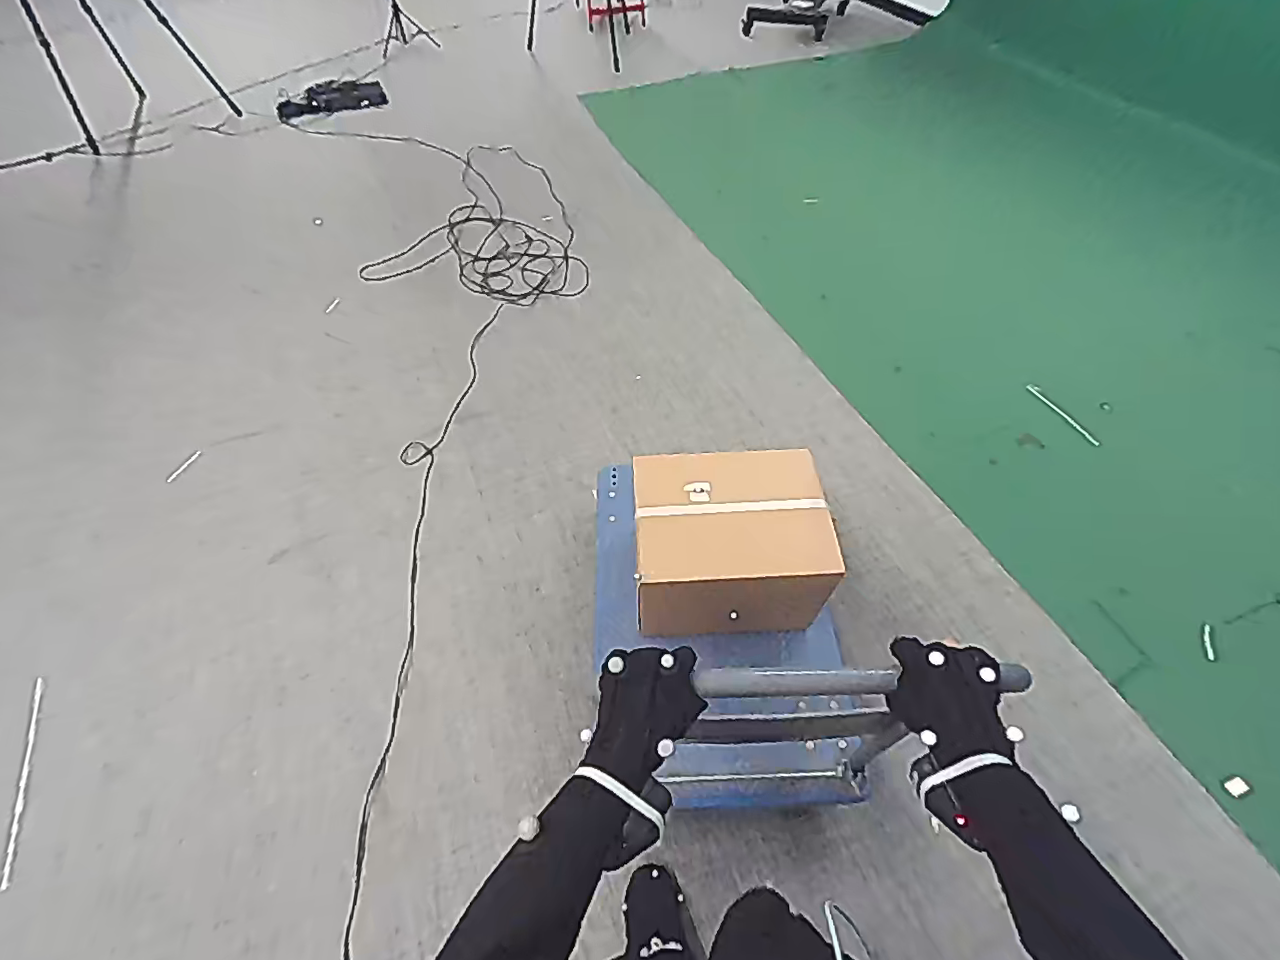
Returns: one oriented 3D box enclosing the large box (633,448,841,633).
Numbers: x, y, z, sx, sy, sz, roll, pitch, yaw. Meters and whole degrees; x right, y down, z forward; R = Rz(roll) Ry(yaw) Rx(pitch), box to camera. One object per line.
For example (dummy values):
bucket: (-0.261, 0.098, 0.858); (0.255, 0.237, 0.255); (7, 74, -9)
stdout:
large box: (0.197, 0.150, 1.268); (0.408, 0.320, 0.320); (-3, 54, -1)
